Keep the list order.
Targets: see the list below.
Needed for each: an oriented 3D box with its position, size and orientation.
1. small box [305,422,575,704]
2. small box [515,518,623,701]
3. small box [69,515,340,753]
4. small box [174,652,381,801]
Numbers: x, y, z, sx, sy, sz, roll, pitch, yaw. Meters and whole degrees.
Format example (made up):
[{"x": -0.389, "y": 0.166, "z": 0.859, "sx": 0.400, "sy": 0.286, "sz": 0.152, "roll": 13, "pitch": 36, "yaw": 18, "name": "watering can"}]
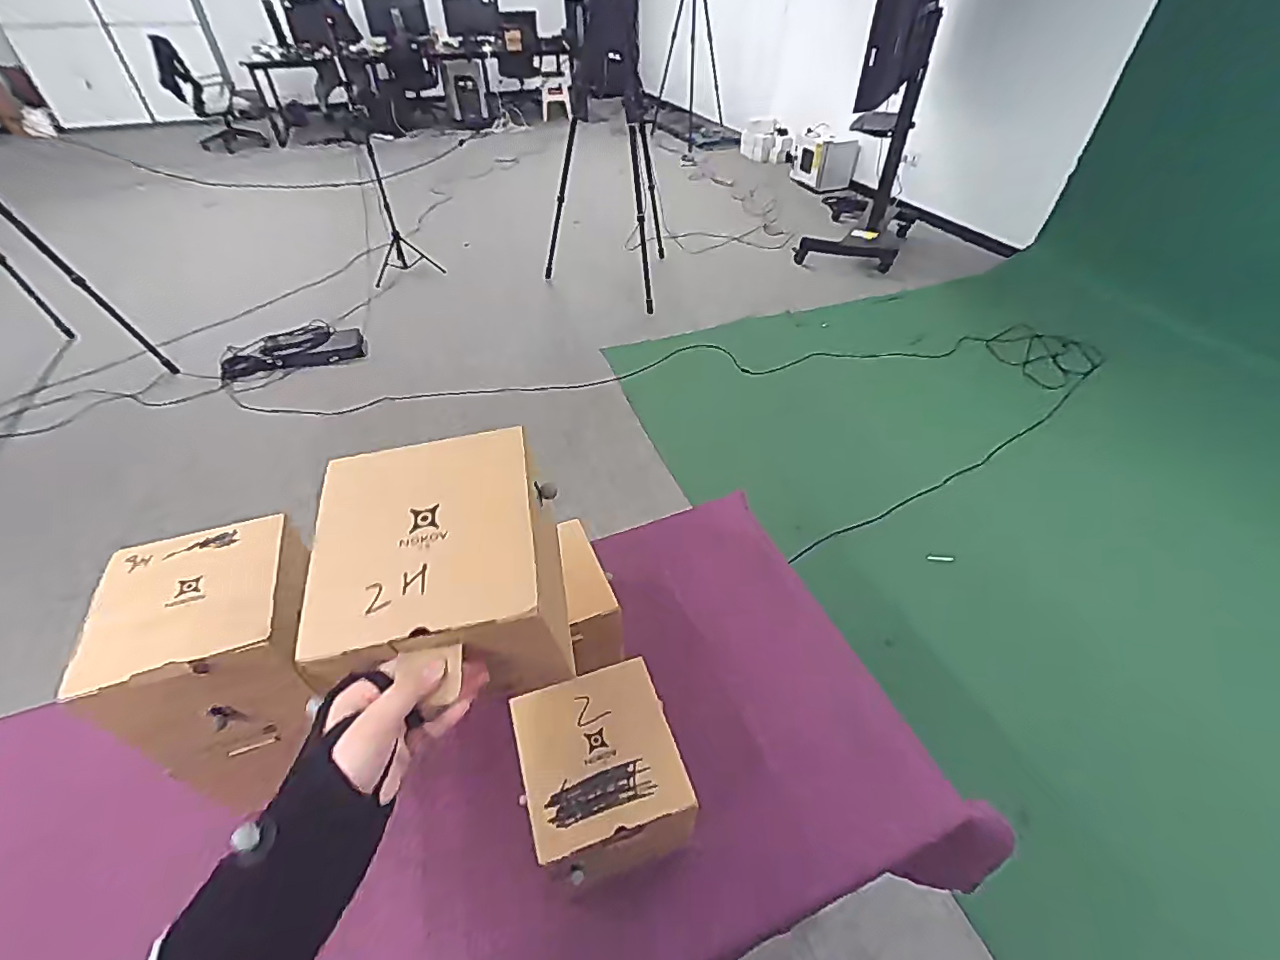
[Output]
[{"x": -0.158, "y": 0.078, "z": 0.484, "sx": 0.168, "sy": 0.176, "sz": 0.179, "roll": -11, "pitch": 55, "yaw": -3, "name": "small box"}, {"x": -0.132, "y": 0.192, "z": 0.807, "sx": 0.168, "sy": 0.176, "sz": 0.179, "roll": -17, "pitch": 48, "yaw": -17, "name": "small box"}, {"x": -0.446, "y": 0.173, "z": 0.594, "sx": 0.168, "sy": 0.176, "sz": 0.179, "roll": -15, "pitch": 47, "yaw": -16, "name": "small box"}, {"x": -0.453, "y": 0.292, "z": 0.708, "sx": 0.168, "sy": 0.176, "sz": 0.179, "roll": -15, "pitch": 46, "yaw": -16, "name": "small box"}]
